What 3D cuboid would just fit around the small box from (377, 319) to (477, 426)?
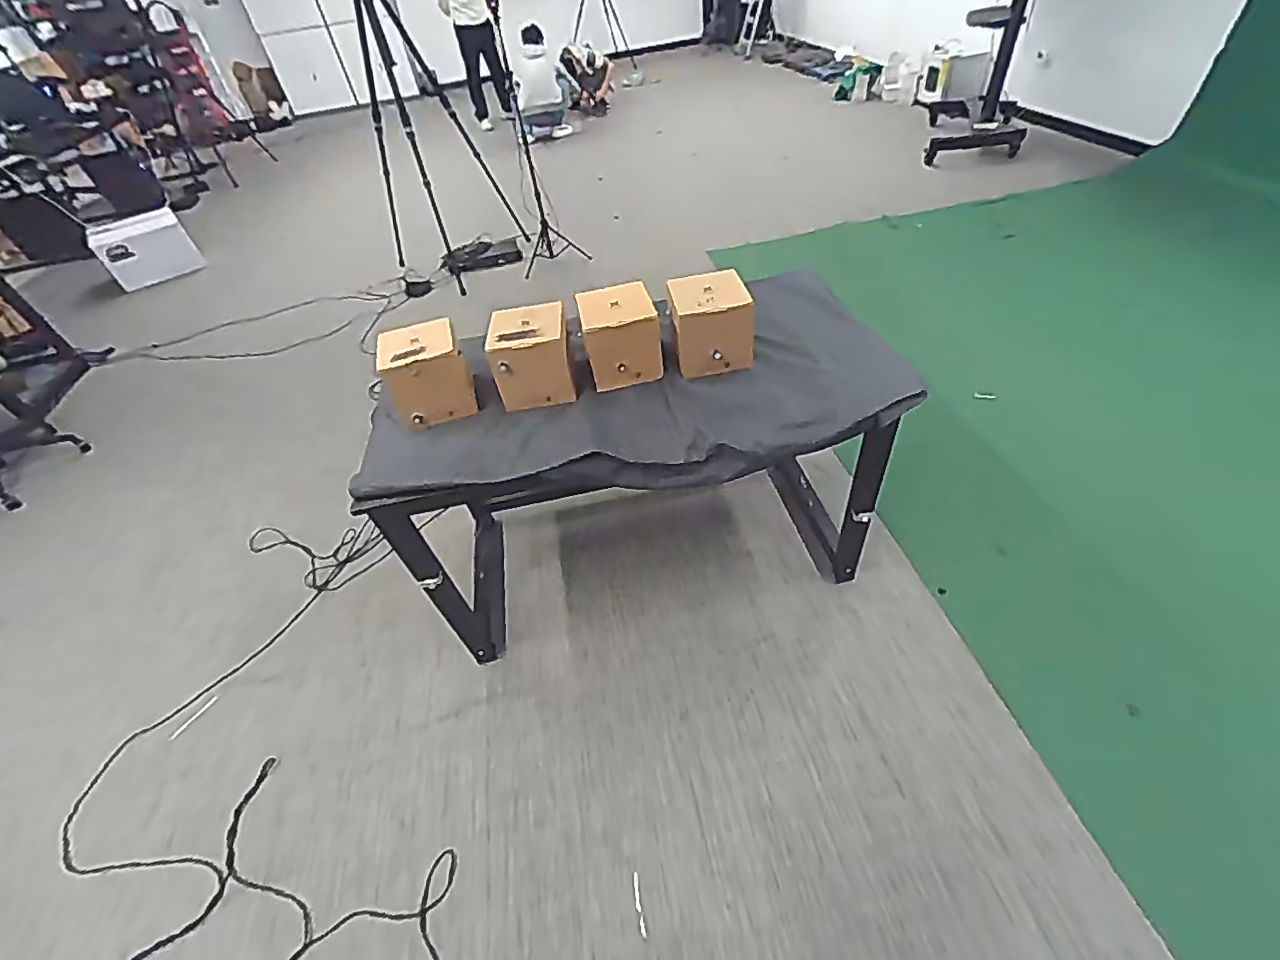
[{"bbox_3d":[-0.488,-0.242,1.251,0.168,0.176,0.179,-17,44,-8],"label":"small box"}]
